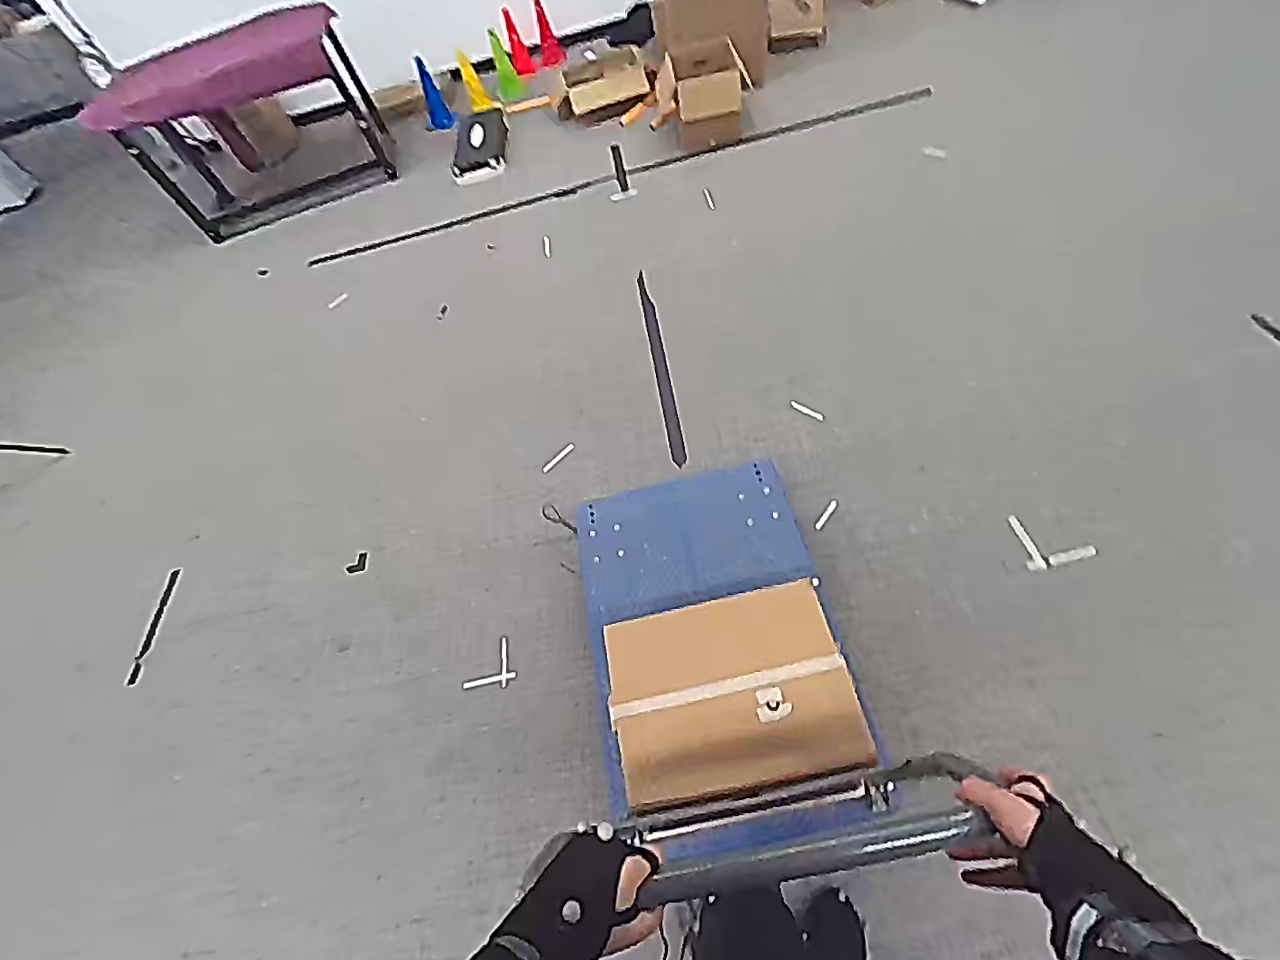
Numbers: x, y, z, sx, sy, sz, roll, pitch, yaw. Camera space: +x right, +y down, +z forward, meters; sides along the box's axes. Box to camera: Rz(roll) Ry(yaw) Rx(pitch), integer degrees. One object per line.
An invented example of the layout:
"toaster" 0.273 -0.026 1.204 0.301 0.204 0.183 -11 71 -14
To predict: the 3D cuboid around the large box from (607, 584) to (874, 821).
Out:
"large box" 0.178 0.449 1.066 0.408 0.320 0.320 -14 56 2
